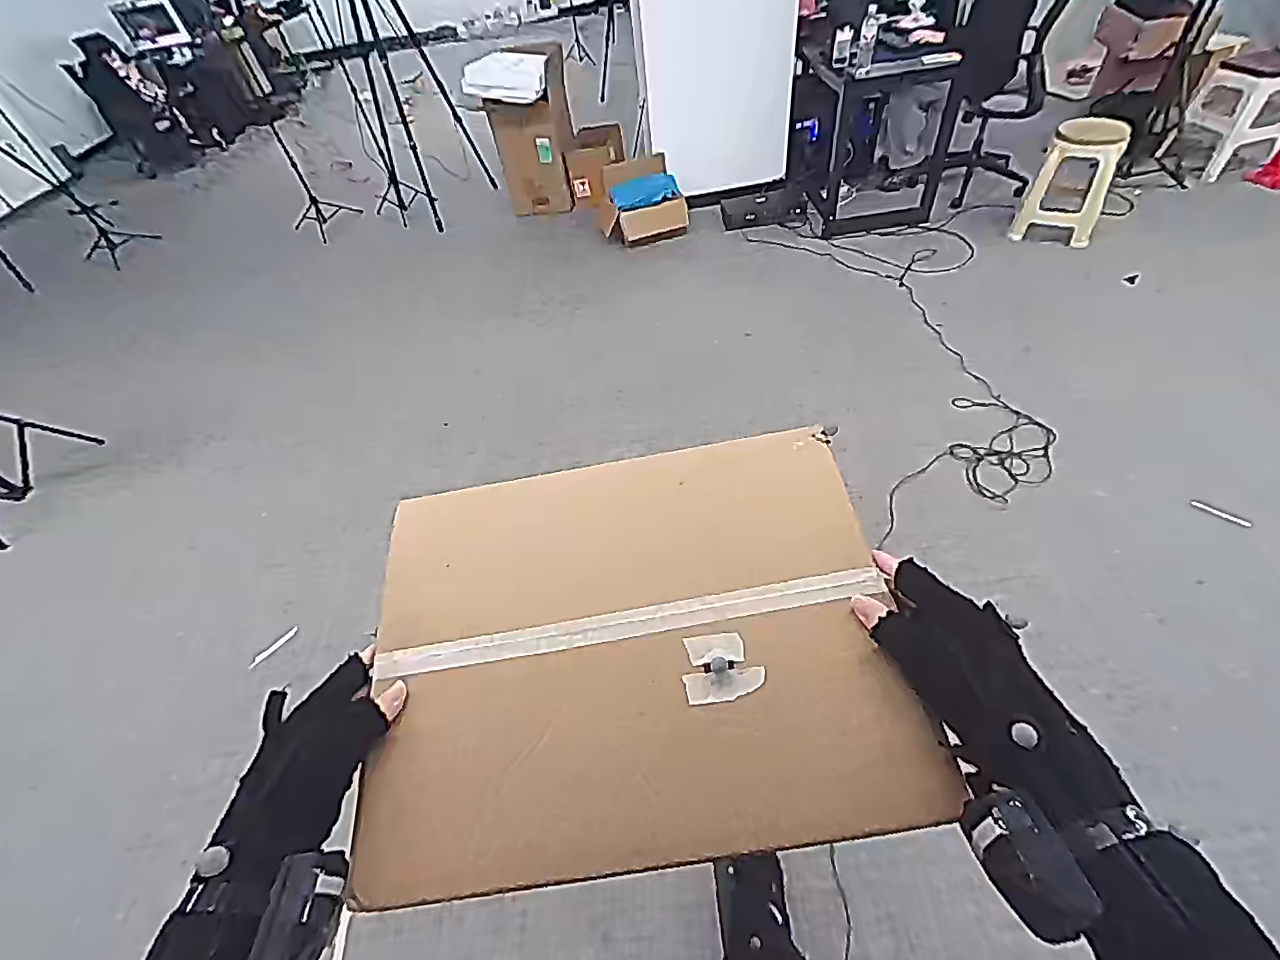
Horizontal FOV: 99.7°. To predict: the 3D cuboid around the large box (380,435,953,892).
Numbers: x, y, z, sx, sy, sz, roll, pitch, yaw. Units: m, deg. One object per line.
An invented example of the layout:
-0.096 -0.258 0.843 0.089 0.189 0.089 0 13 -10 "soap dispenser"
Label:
0.013 0.198 0.568 0.408 0.320 0.320 -10 57 2 "large box"
